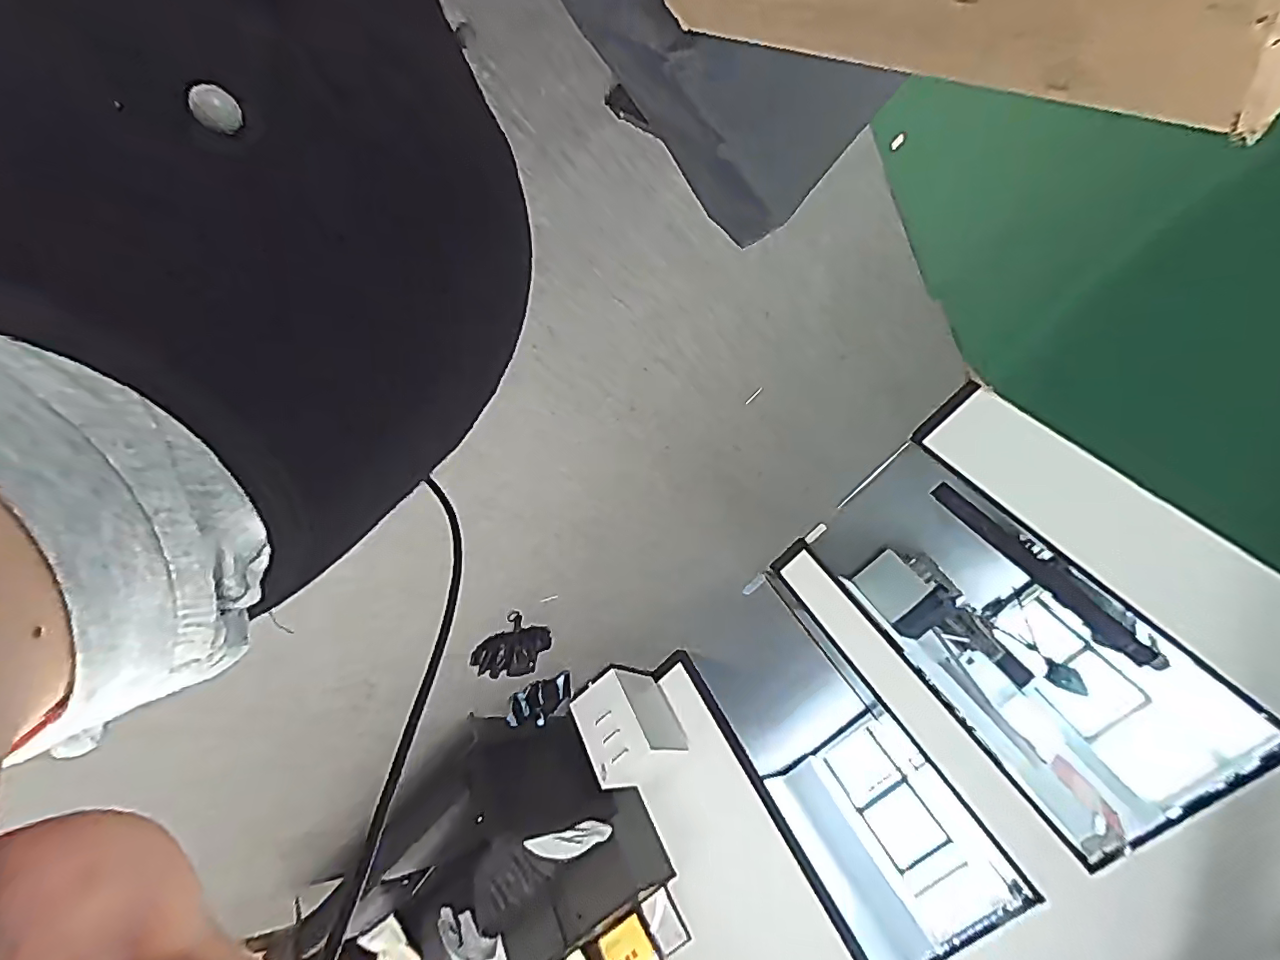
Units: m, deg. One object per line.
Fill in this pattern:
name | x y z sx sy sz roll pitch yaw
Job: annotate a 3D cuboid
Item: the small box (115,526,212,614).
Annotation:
small box | -1.404 0.268 1.606 0.179 0.176 0.168 -45 141 12
